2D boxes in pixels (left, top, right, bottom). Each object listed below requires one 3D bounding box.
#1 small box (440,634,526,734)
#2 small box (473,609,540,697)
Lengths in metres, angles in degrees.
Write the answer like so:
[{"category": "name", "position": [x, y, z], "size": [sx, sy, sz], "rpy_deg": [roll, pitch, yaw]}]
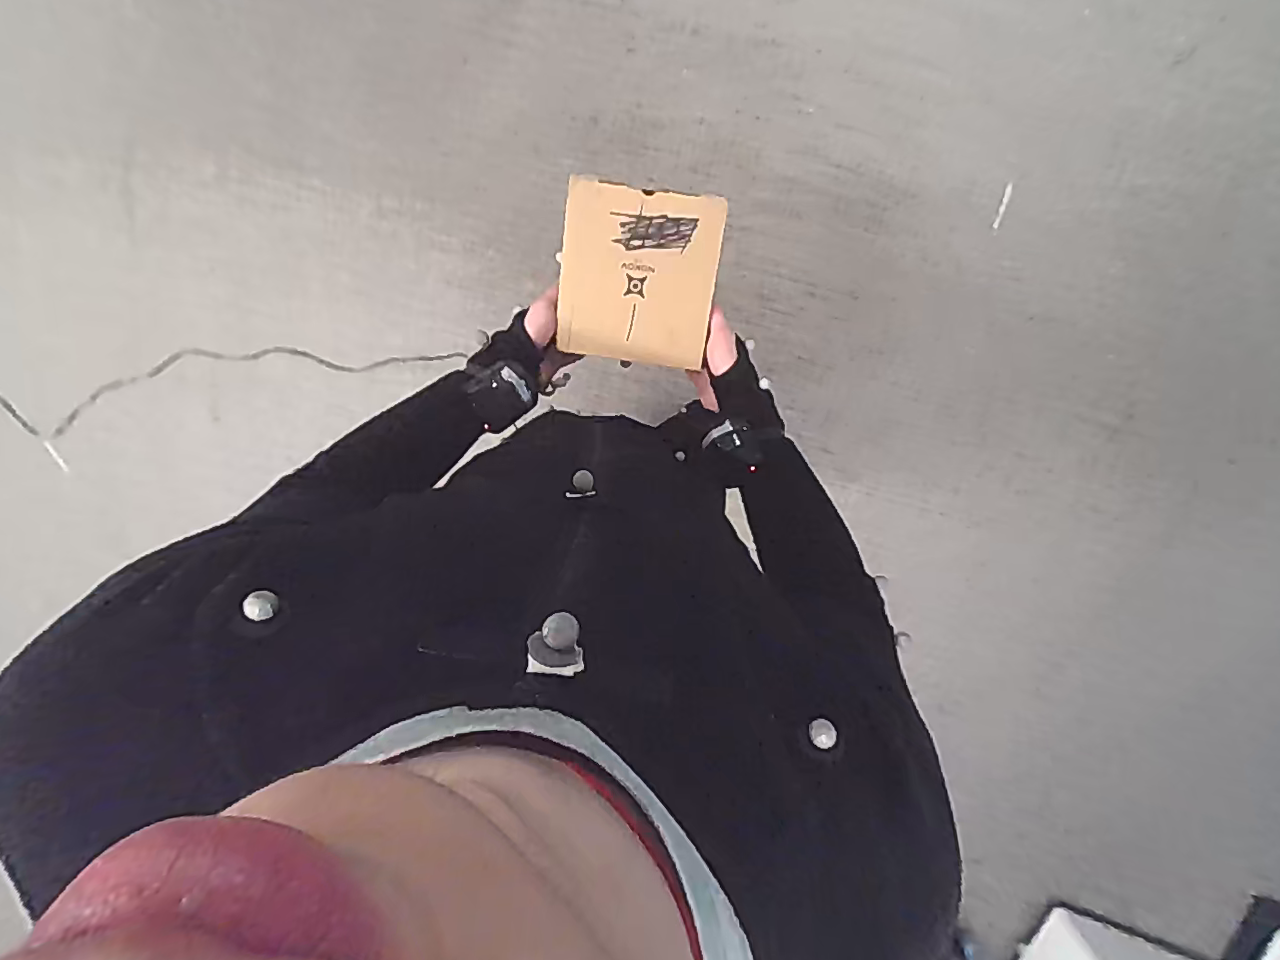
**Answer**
[{"category": "small box", "position": [-0.417, 0.542, 1.461], "size": [0.168, 0.176, 0.179], "rpy_deg": [14, 104, 2]}, {"category": "small box", "position": [-0.407, 0.511, 1.621], "size": [0.168, 0.176, 0.179], "rpy_deg": [13, 102, 1]}]
